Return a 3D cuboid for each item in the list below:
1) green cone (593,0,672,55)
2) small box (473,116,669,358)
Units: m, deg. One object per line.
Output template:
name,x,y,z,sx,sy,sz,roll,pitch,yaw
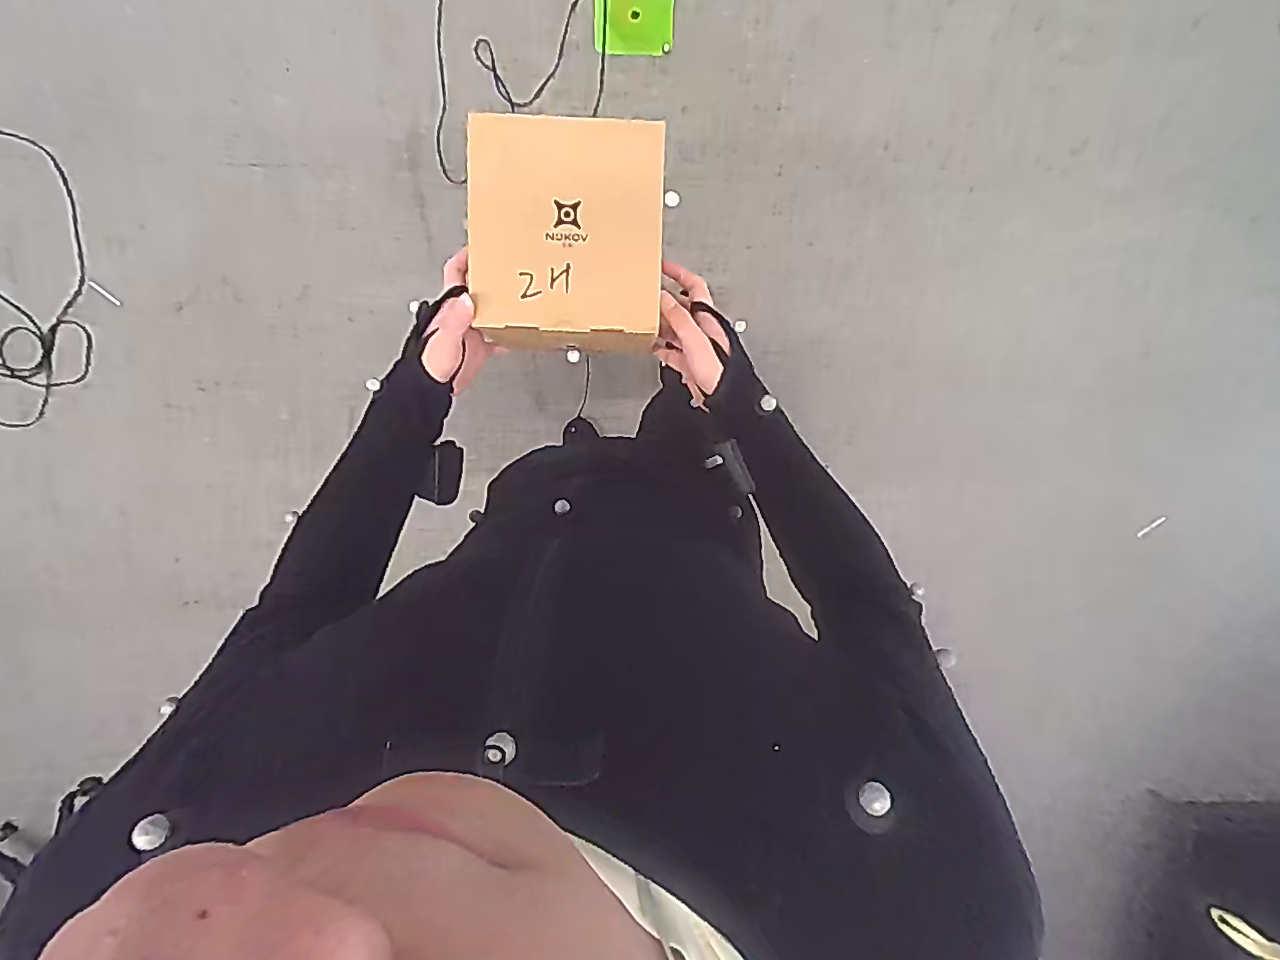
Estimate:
green cone,-0.017,-1.155,1.197,0.202,0.368,0.200,1,102,-1
small box,-0.065,-0.227,0.548,0.168,0.176,0.179,2,97,-3
